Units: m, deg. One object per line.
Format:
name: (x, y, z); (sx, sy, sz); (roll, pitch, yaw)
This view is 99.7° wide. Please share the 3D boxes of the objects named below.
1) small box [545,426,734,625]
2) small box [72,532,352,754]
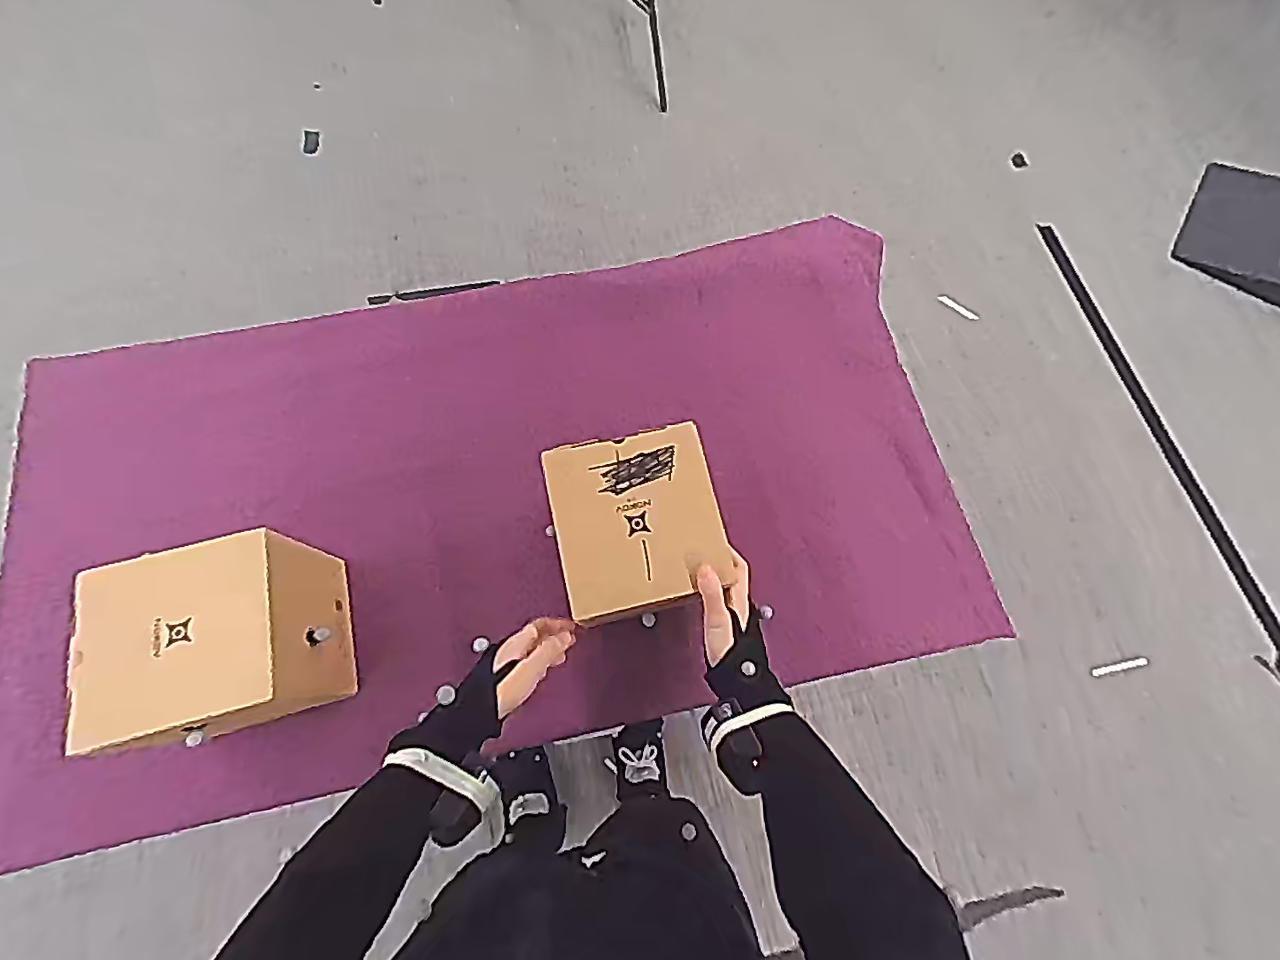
small box: (-0.008, 0.061, 0.621); (0.168, 0.176, 0.179); (-12, 74, -5)
small box: (-0.431, 0.169, 0.576); (0.179, 0.176, 0.168); (-15, 72, -6)
